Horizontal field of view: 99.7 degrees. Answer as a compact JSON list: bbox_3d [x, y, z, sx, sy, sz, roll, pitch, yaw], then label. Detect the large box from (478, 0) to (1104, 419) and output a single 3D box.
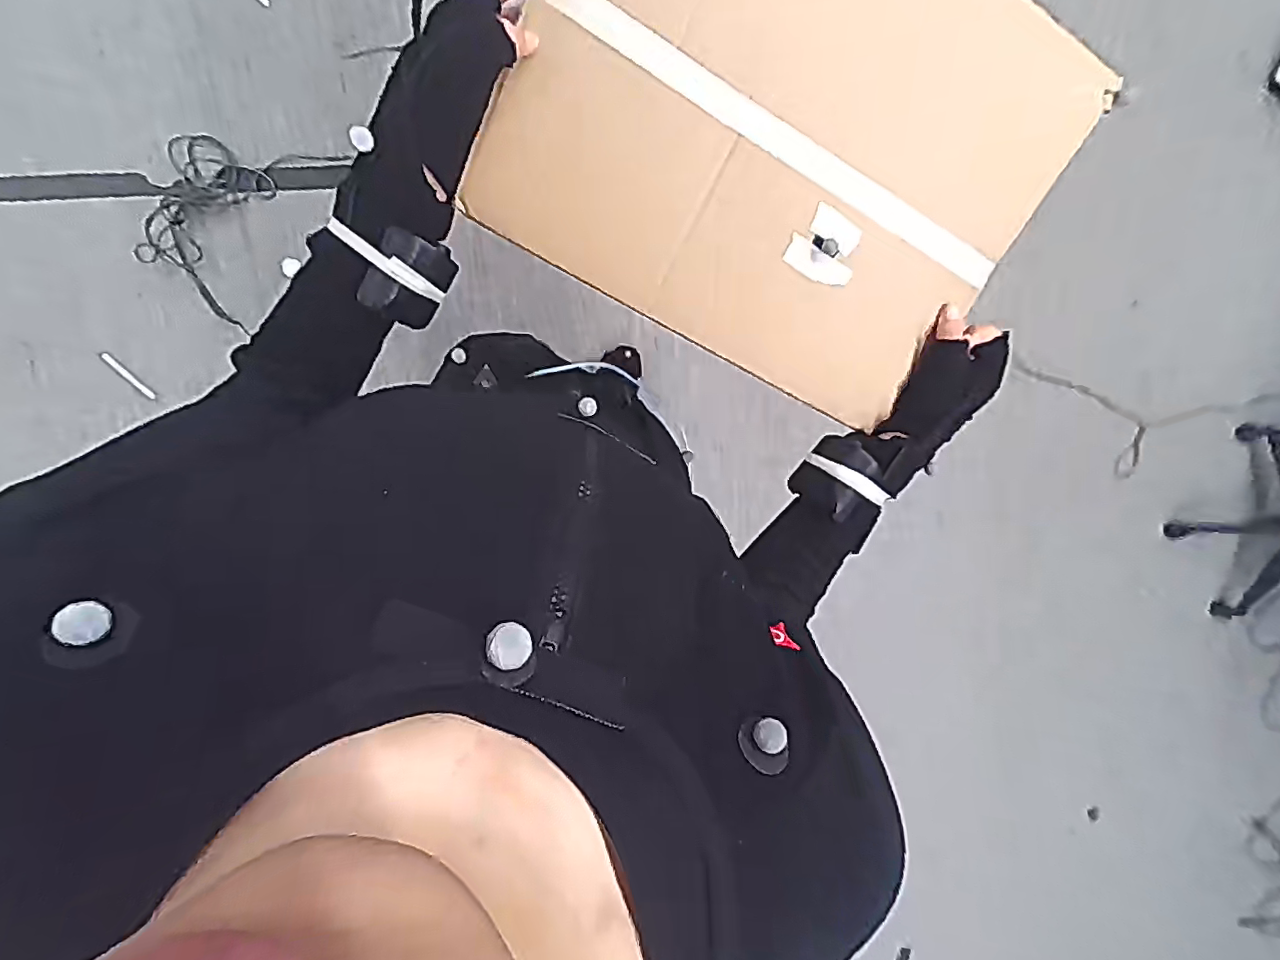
[{"bbox_3d":[0.103,-0.316,0.553,0.408,0.320,0.320,25,110,-14],"label":"large box"}]
